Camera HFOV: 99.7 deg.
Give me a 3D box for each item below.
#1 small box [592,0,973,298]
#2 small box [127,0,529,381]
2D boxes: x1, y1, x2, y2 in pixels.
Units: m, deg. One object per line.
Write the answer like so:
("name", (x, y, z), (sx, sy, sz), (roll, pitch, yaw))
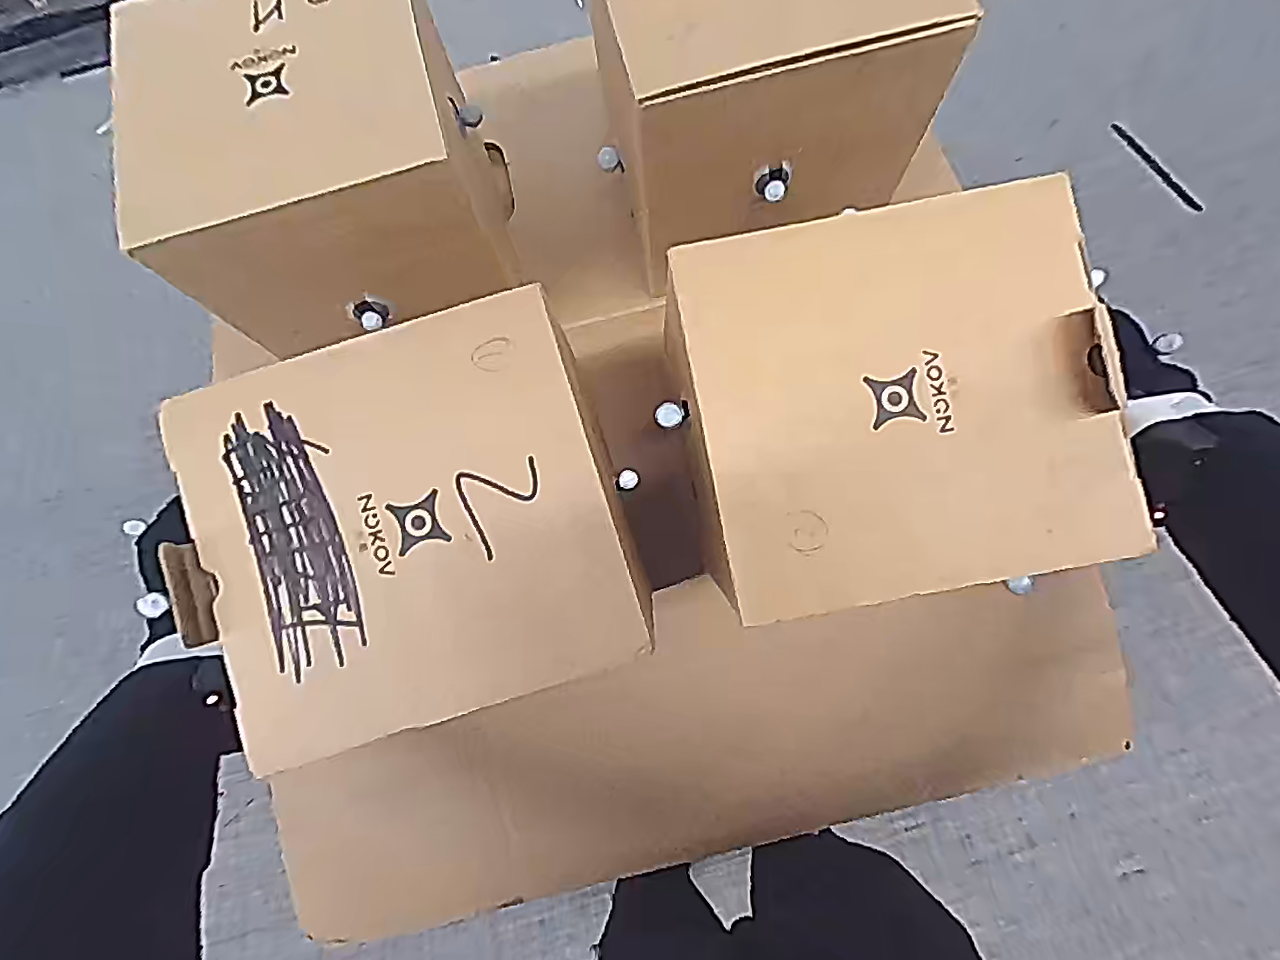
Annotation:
("small box", (0.070, -0.251, 0.362), (0.179, 0.176, 0.168), (-13, 75, 2))
("small box", (-0.186, -0.184, 0.365), (0.168, 0.176, 0.179), (-15, 74, 0))
